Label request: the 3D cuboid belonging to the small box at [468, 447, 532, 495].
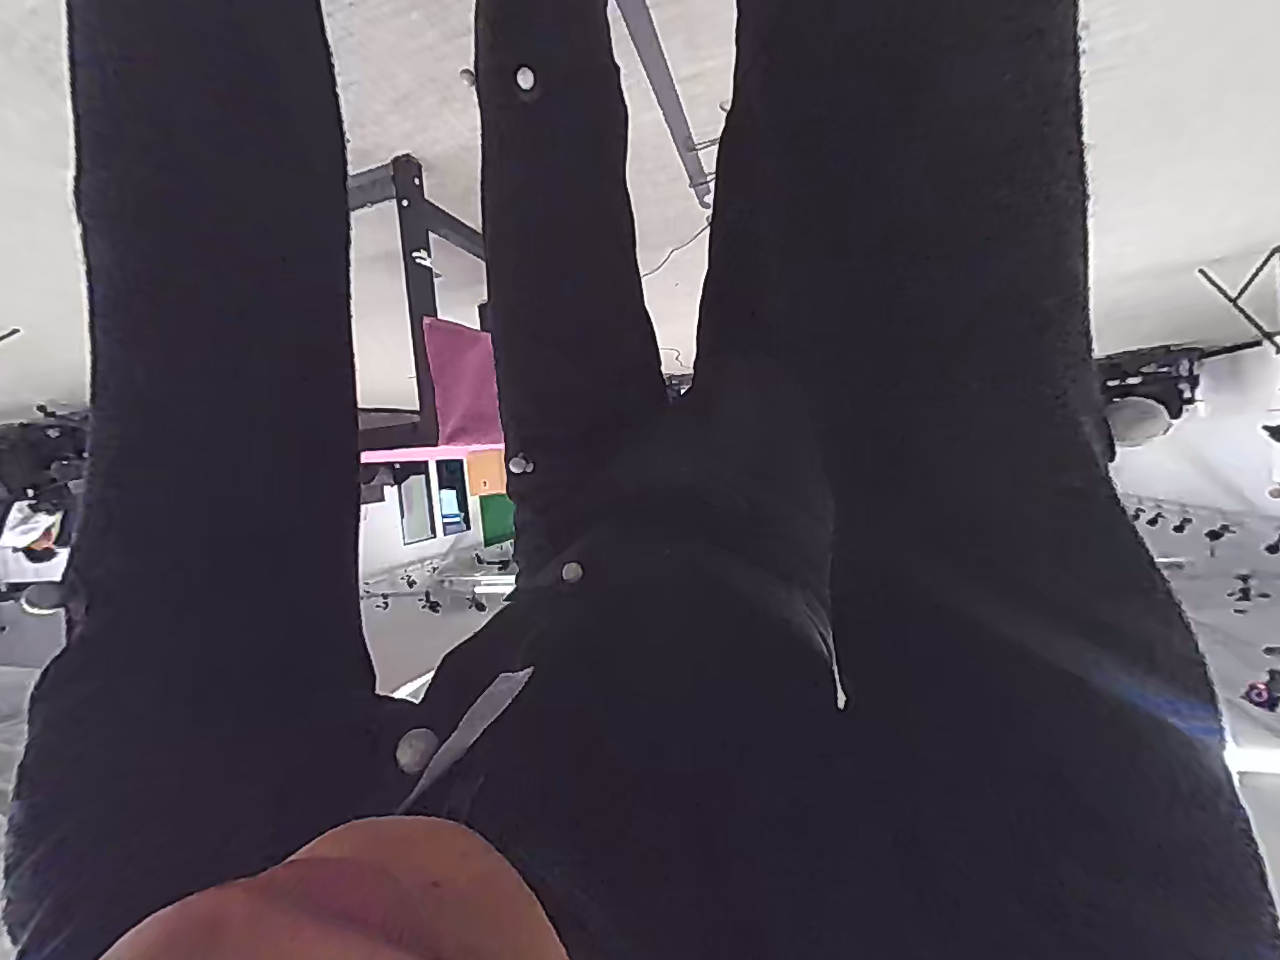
[{"bbox_3d":[-0.547,-0.039,2.098,0.179,0.176,0.168,-4,-178,31],"label":"small box"}]
